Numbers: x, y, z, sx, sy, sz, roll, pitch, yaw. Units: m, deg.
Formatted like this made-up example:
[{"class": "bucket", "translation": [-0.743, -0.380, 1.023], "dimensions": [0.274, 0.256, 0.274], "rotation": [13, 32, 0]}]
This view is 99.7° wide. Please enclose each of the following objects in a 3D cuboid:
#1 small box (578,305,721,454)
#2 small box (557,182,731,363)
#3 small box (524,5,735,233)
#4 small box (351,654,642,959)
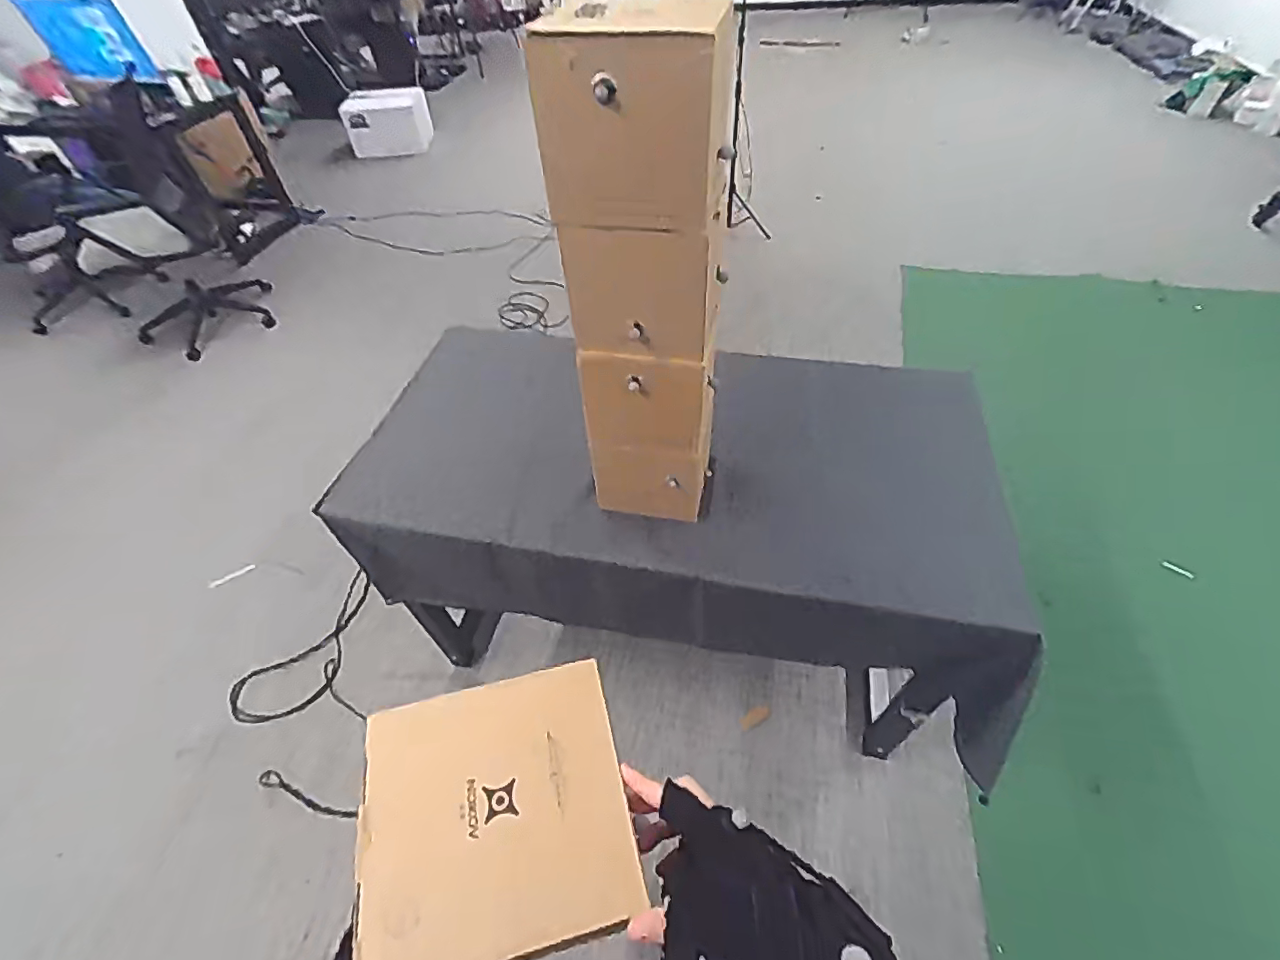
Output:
[{"class": "small box", "translation": [0.020, -0.158, 0.819], "dimensions": [0.179, 0.176, 0.168], "rotation": [8, 49, 10]}, {"class": "small box", "translation": [0.012, -0.271, 0.701], "dimensions": [0.179, 0.176, 0.168], "rotation": [9, 50, 11]}, {"class": "small box", "translation": [0.000, -0.384, 0.580], "dimensions": [0.179, 0.176, 0.168], "rotation": [8, 50, 10]}, {"class": "small box", "translation": [-0.099, 0.267, 0.431], "dimensions": [0.179, 0.176, 0.168], "rotation": [-11, 50, -10]}]
